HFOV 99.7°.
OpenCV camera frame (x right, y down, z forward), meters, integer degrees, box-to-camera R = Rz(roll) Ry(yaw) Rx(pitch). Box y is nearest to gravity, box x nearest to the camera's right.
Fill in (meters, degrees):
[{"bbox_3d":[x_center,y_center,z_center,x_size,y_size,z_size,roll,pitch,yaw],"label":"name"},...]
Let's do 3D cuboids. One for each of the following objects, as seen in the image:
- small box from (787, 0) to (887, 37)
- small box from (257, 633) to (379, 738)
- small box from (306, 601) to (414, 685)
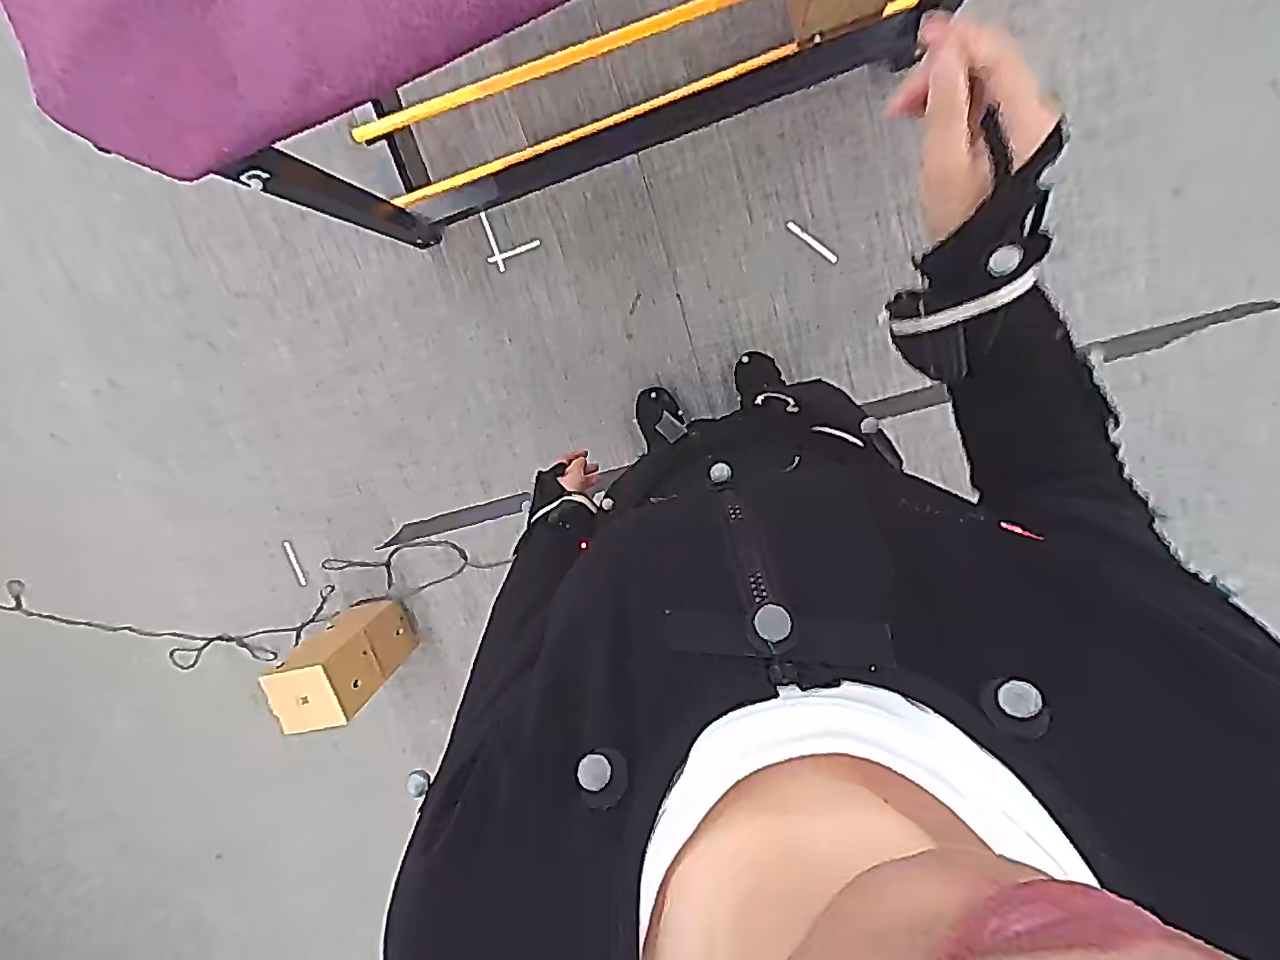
[{"bbox_3d":[0.347,-0.916,0.931,0.168,0.176,0.179,-15,101,10],"label":"small box"},{"bbox_3d":[-0.778,0.498,1.334,0.179,0.176,0.168,-14,103,10],"label":"small box"},{"bbox_3d":[-0.762,0.455,1.490,0.179,0.176,0.168,-14,104,9],"label":"small box"}]
